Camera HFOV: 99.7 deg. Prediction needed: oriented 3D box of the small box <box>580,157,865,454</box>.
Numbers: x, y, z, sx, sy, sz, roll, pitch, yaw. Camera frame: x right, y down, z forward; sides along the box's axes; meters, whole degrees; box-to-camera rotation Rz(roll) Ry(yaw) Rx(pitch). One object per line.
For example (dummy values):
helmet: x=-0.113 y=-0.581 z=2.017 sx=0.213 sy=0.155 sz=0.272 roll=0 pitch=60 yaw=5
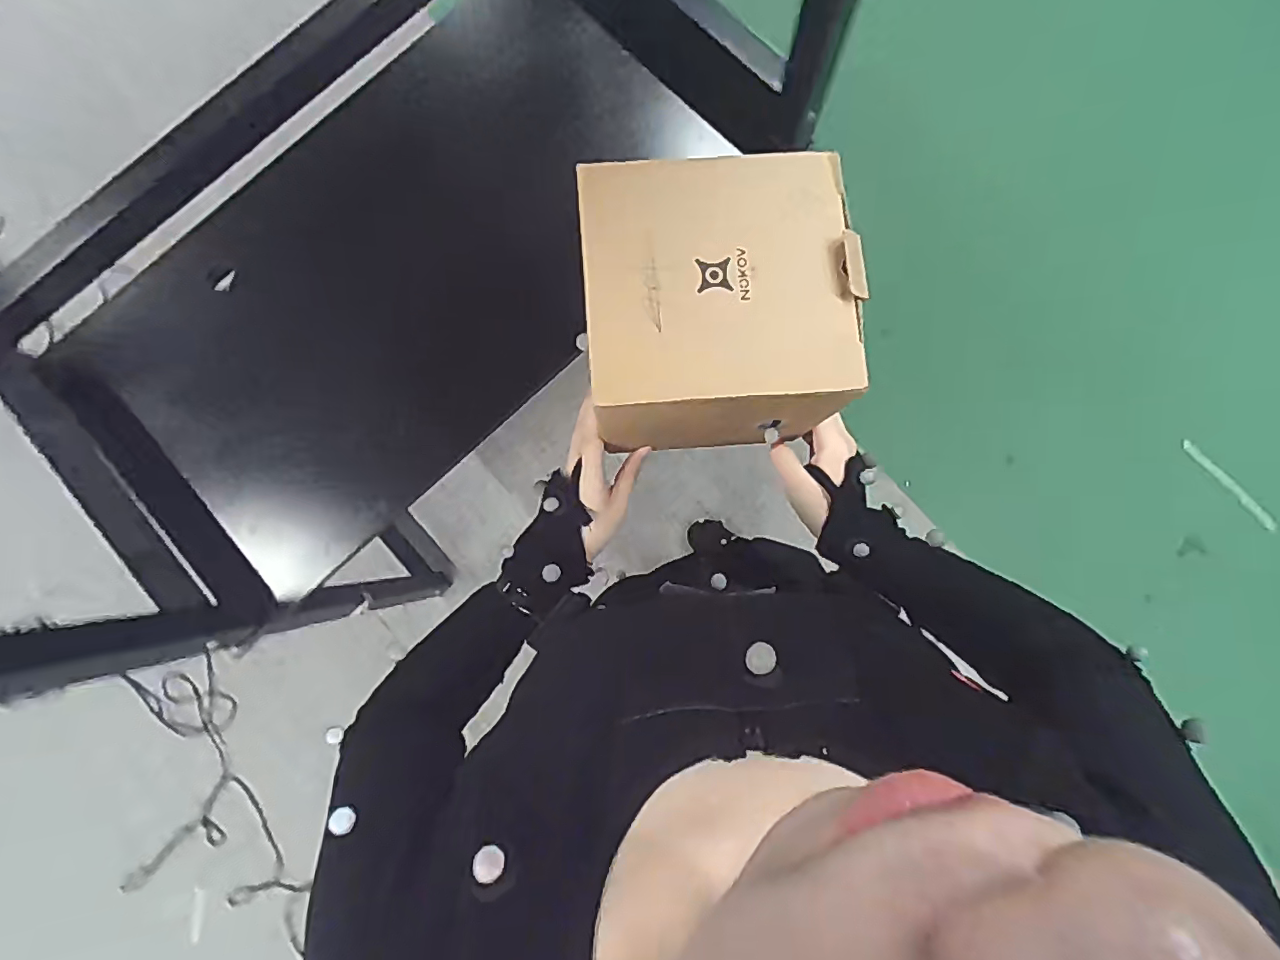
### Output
small box: x=0.051 y=-0.117 z=0.425 sx=0.179 sy=0.176 sz=0.168 roll=-4 pitch=83 yaw=0
